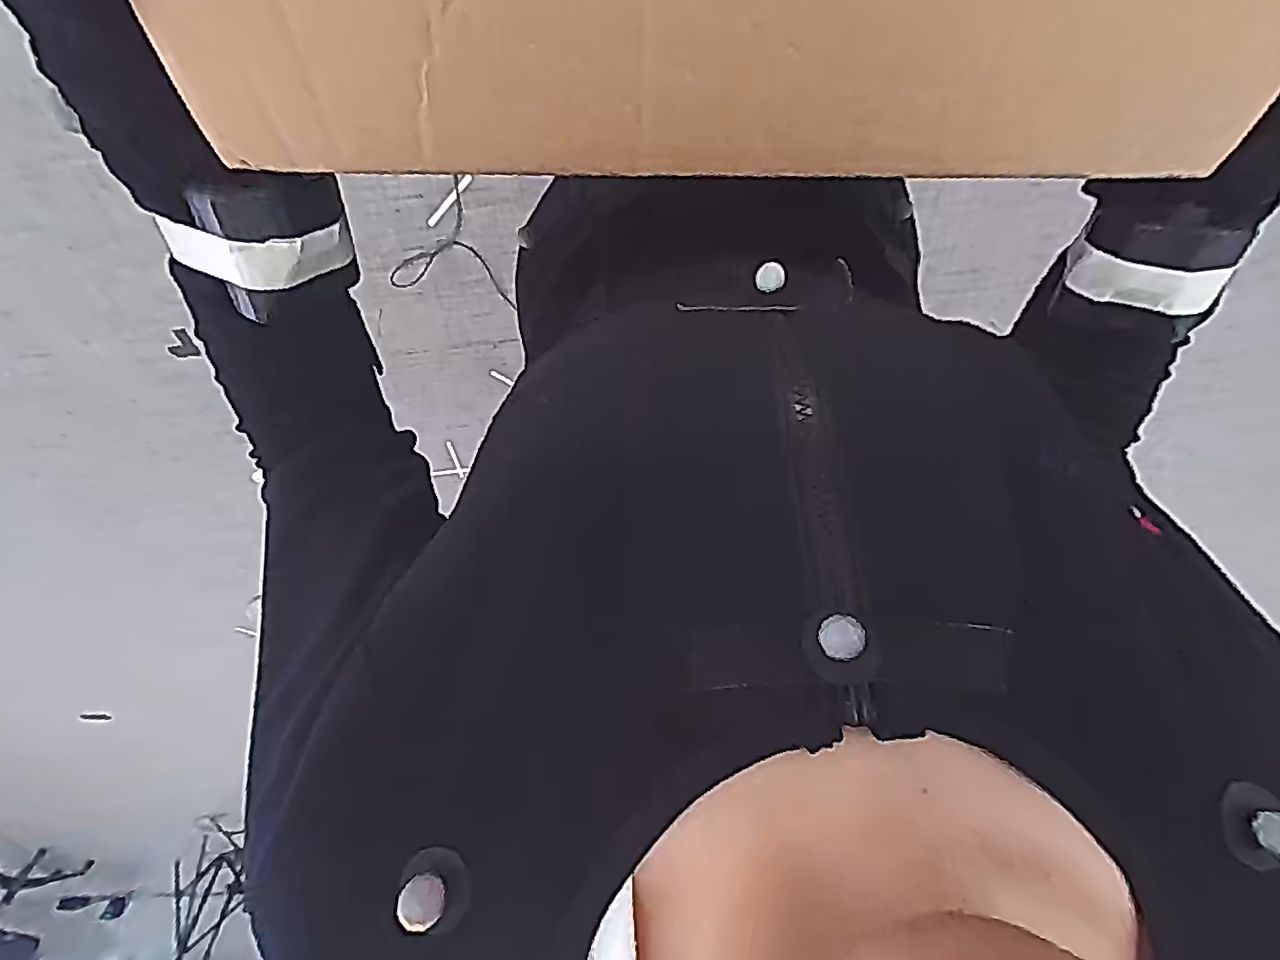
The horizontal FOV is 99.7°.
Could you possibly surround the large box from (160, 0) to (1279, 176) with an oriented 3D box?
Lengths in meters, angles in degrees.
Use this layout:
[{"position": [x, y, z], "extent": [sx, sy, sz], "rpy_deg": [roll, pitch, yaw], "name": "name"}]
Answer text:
[{"position": [0.034, -0.344, 0.201], "extent": [0.408, 0.320, 0.320], "rpy_deg": [-1, 142, -2], "name": "large box"}]
